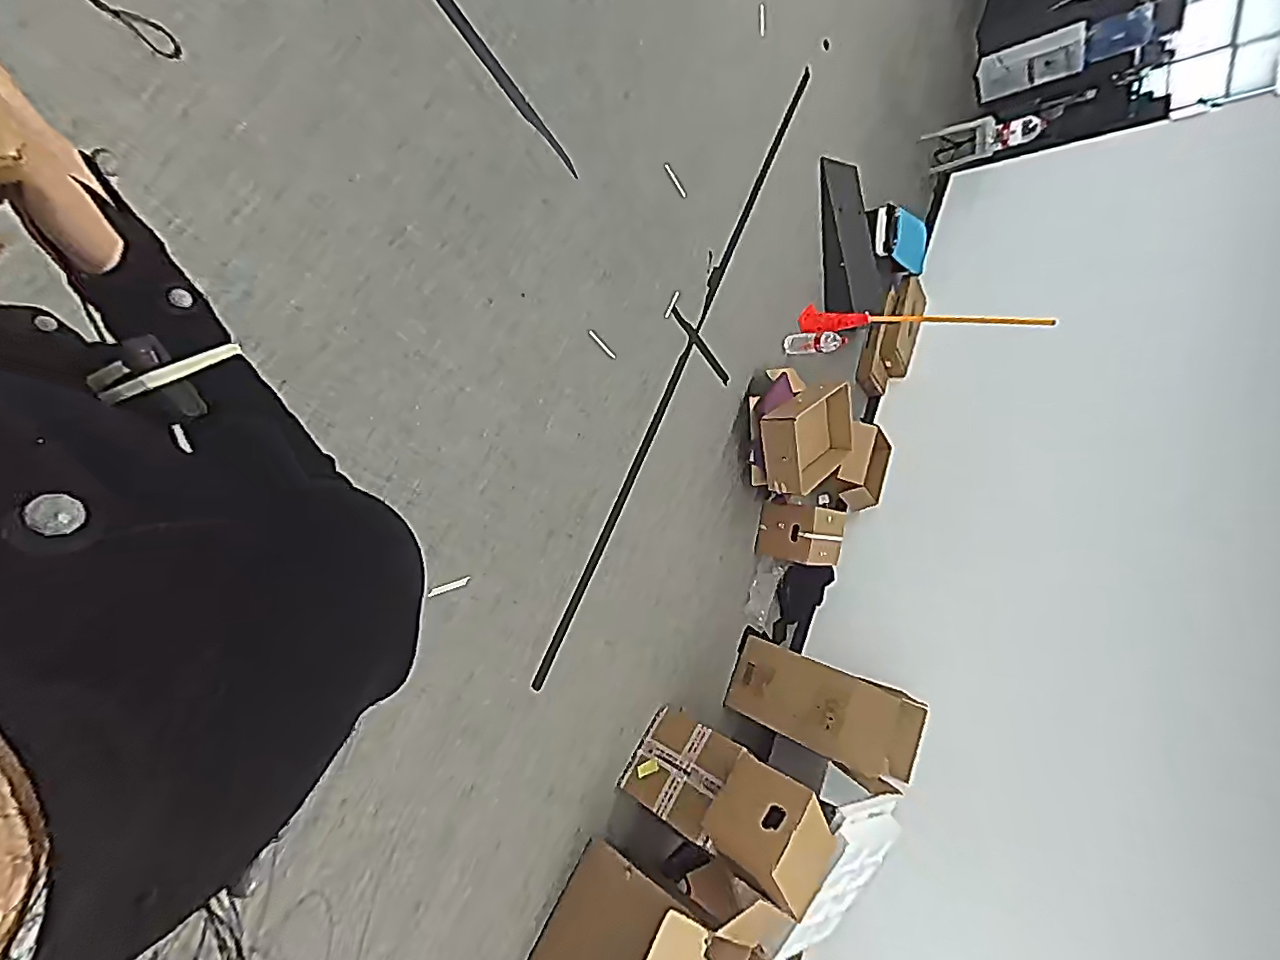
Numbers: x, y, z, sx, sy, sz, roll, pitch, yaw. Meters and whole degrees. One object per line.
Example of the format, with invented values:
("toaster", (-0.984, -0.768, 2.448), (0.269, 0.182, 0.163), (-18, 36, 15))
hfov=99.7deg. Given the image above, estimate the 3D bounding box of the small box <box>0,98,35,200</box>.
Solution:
("small box", (-0.403, -0.203, 0.212), (0.168, 0.176, 0.179), (-34, 127, -41))
